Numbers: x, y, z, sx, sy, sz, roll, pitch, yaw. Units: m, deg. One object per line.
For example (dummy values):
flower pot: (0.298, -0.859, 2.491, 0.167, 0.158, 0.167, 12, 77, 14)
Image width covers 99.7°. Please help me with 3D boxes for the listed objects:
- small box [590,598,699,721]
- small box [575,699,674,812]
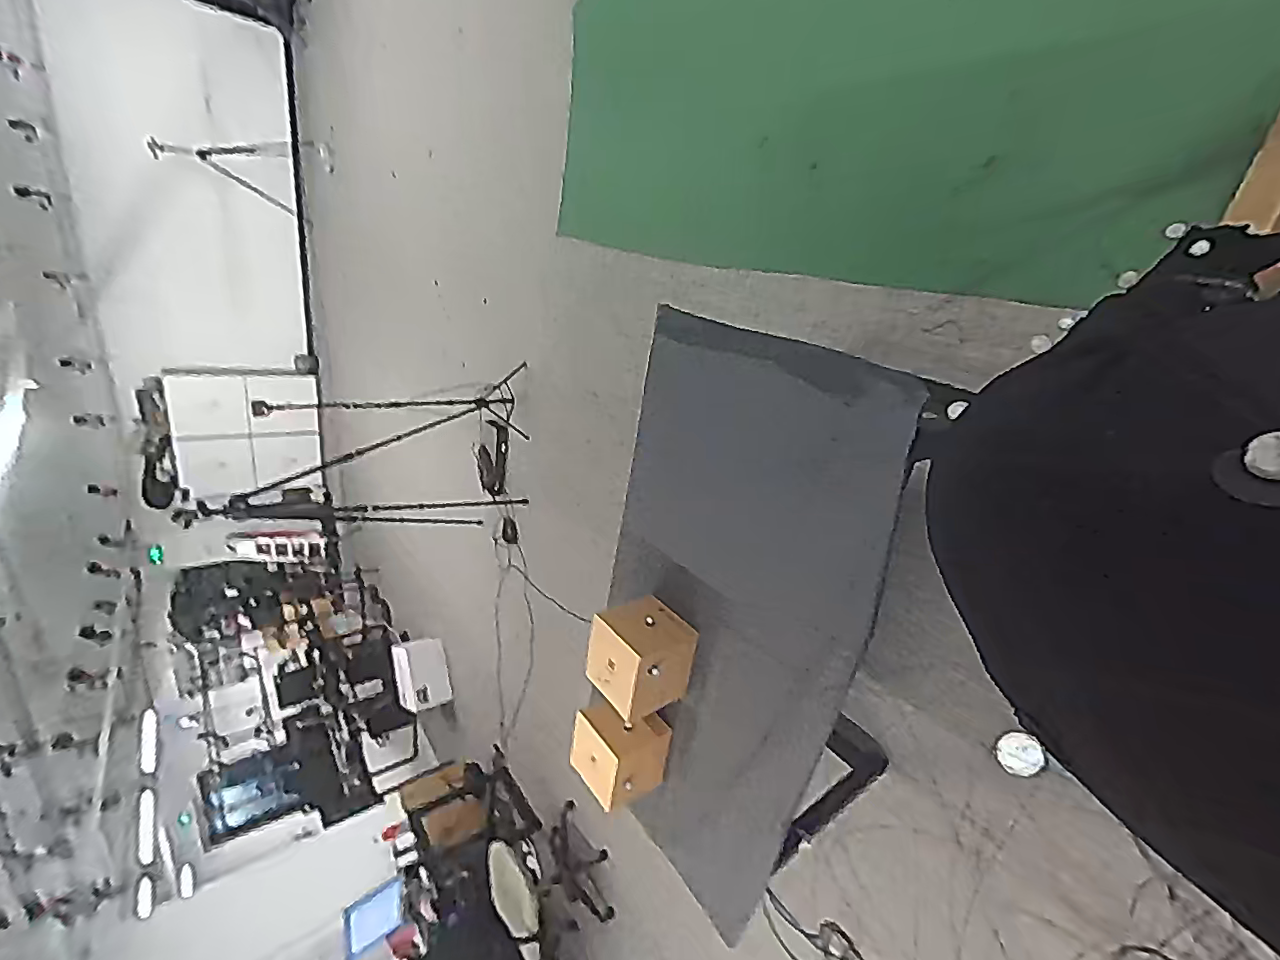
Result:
small box: (0.011, 0.387, 1.203, 0.168, 0.176, 0.179, 31, 120, 45)
small box: (-0.036, 0.646, 1.316, 0.168, 0.176, 0.179, 30, 120, 44)
